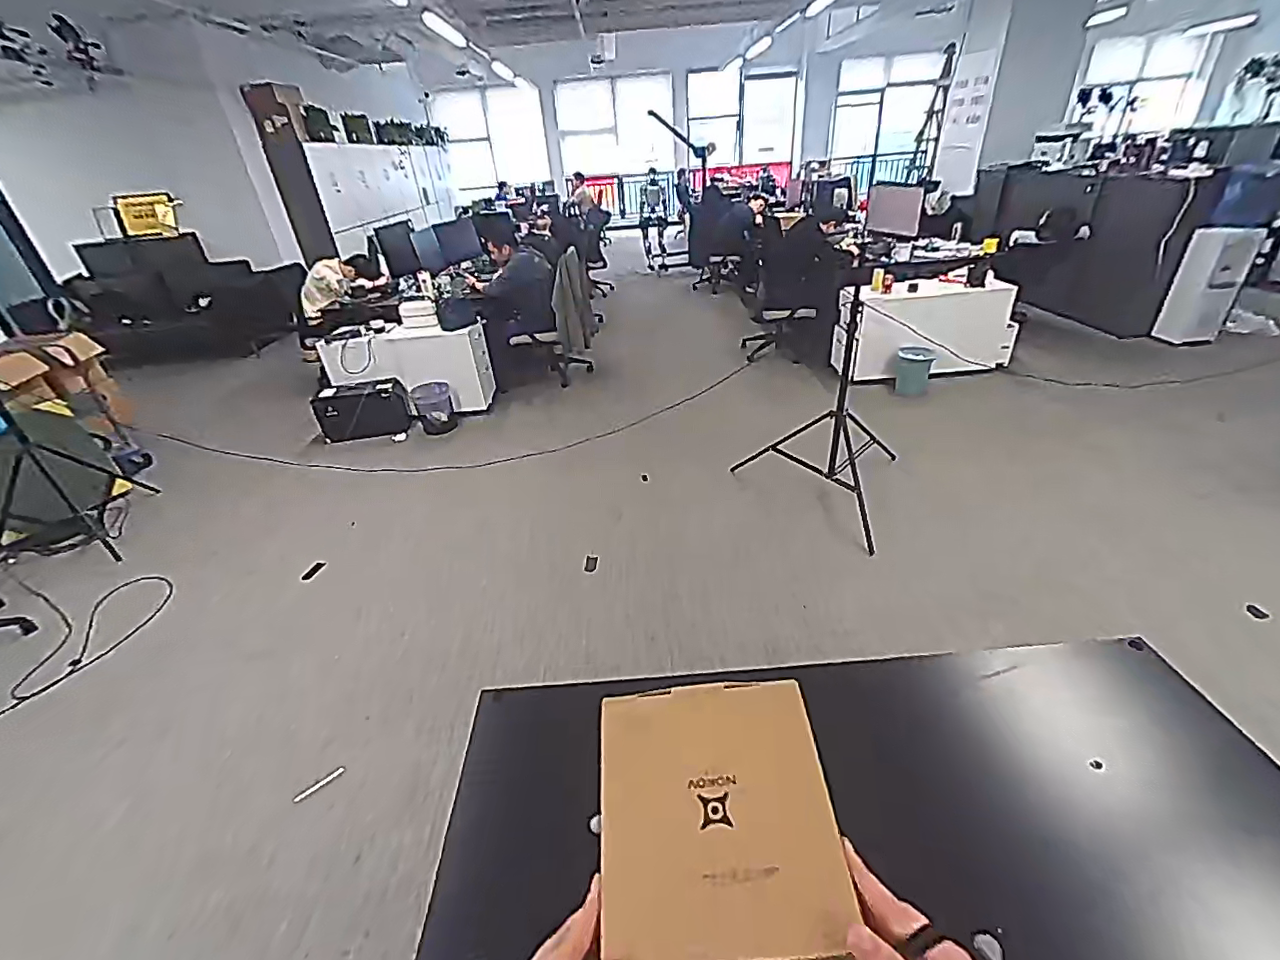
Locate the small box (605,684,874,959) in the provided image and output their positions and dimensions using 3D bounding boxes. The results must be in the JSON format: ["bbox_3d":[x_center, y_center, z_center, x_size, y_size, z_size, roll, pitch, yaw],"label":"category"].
[{"bbox_3d":[0.063,0.293,0.440,0.168,0.176,0.179,-7,44,1],"label":"small box"}]
